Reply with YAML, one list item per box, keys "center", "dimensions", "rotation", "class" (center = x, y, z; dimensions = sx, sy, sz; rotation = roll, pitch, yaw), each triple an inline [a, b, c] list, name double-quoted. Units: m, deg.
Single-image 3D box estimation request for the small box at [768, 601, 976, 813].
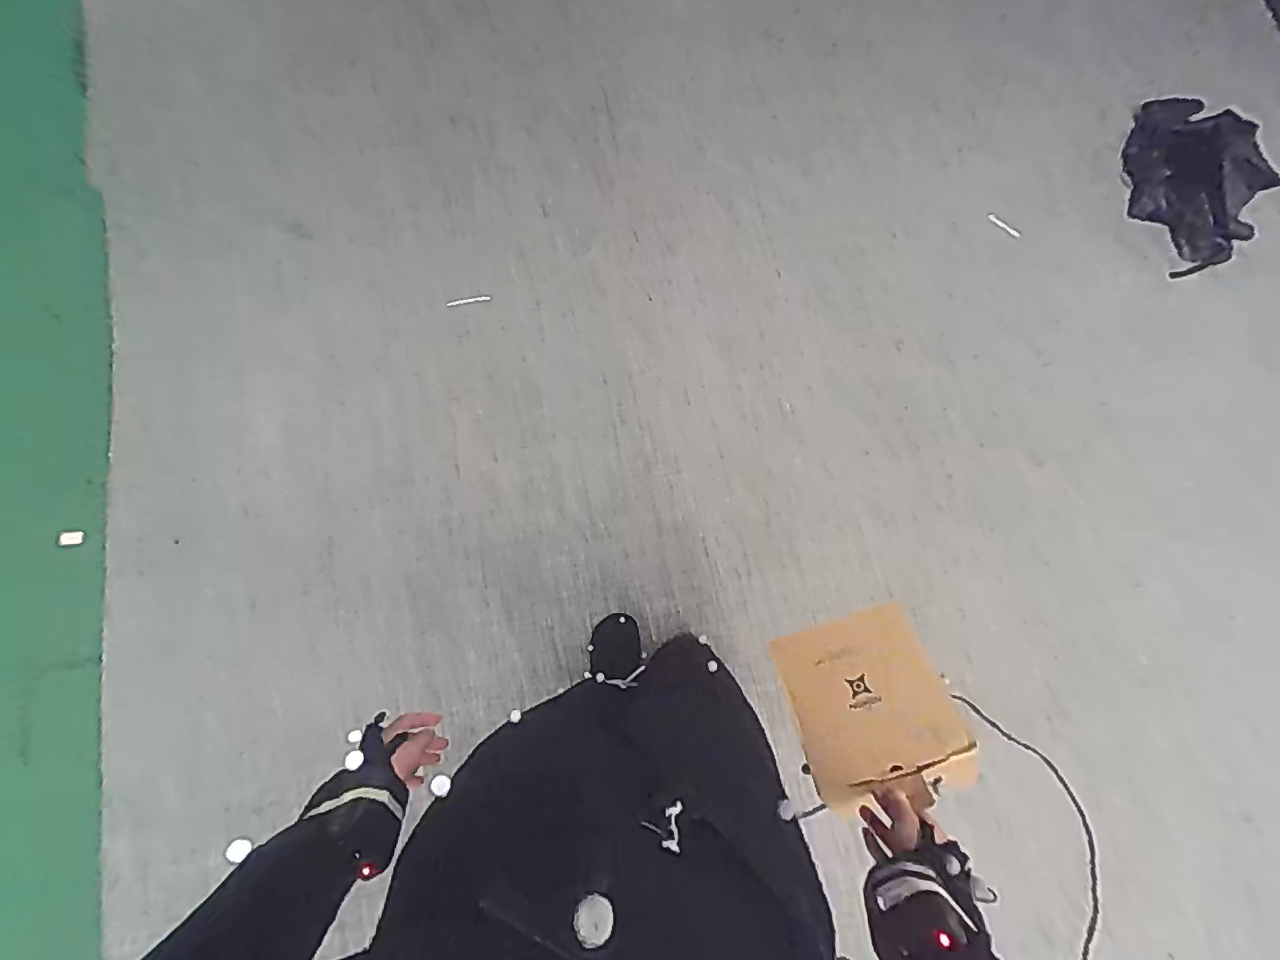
- center: [0.276, 0.282, 0.654]
  dimensions: [0.168, 0.176, 0.179]
  rotation: [-23, 43, 10]
  class: "small box"
